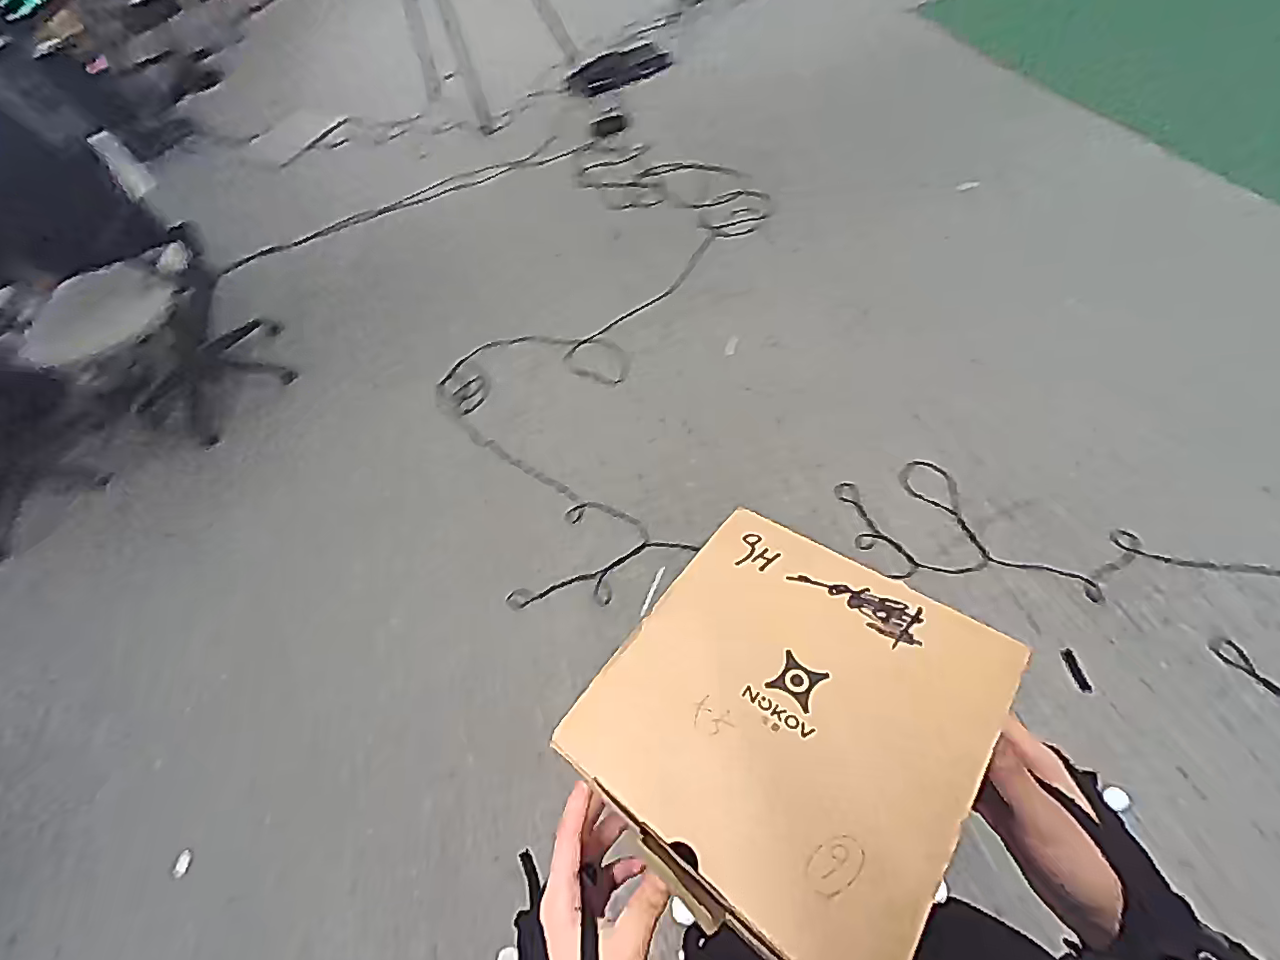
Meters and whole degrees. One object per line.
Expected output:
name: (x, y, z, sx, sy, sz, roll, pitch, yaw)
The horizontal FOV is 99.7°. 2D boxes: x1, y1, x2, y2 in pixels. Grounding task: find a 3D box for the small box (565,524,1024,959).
small box: (0.088, 0.167, 0.329, 0.168, 0.176, 0.179, 28, 60, 32)
